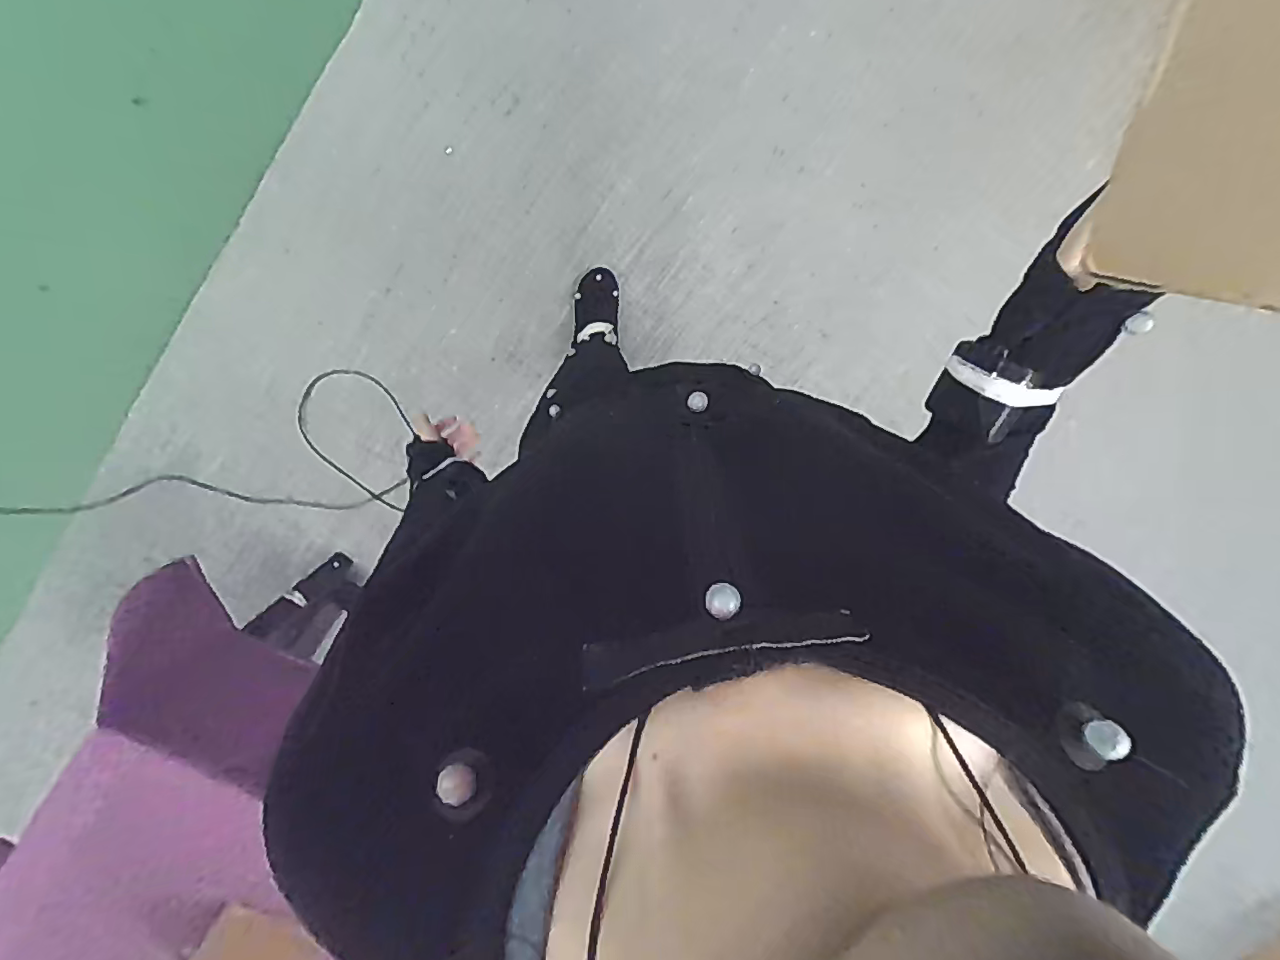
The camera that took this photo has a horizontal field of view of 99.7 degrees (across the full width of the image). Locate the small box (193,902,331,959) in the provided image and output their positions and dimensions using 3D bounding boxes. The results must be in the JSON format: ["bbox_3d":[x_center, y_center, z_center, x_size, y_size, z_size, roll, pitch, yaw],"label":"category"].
[{"bbox_3d":[-0.620,0.803,0.828,0.179,0.176,0.168,36,99,-11],"label":"small box"}]
